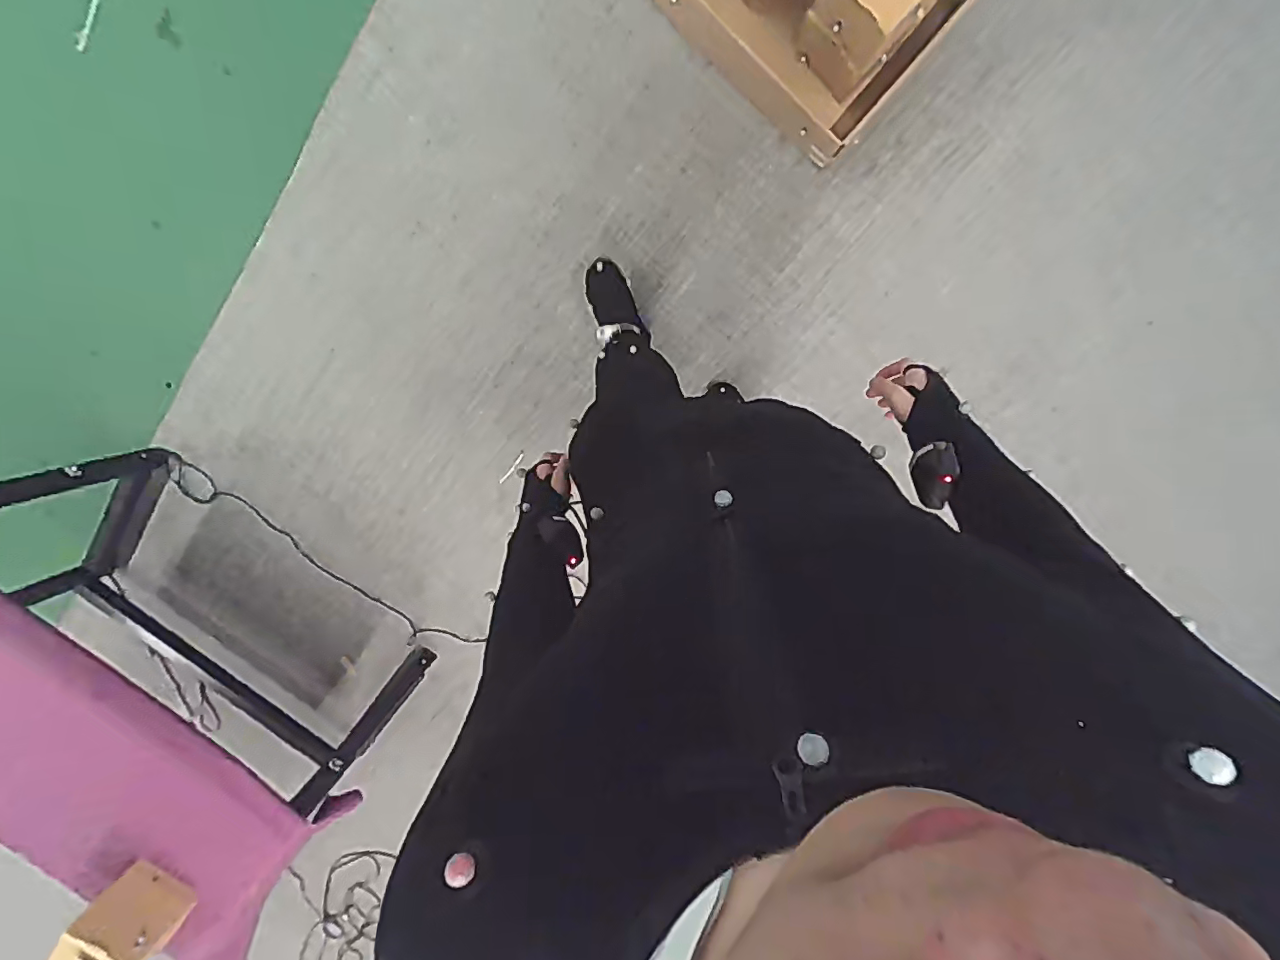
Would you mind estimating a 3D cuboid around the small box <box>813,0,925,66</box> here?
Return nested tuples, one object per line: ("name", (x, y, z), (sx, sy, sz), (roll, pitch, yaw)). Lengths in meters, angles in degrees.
("small box", (0.454, -0.944, 1.015), (0.179, 0.176, 0.168), (-43, 98, 17))
